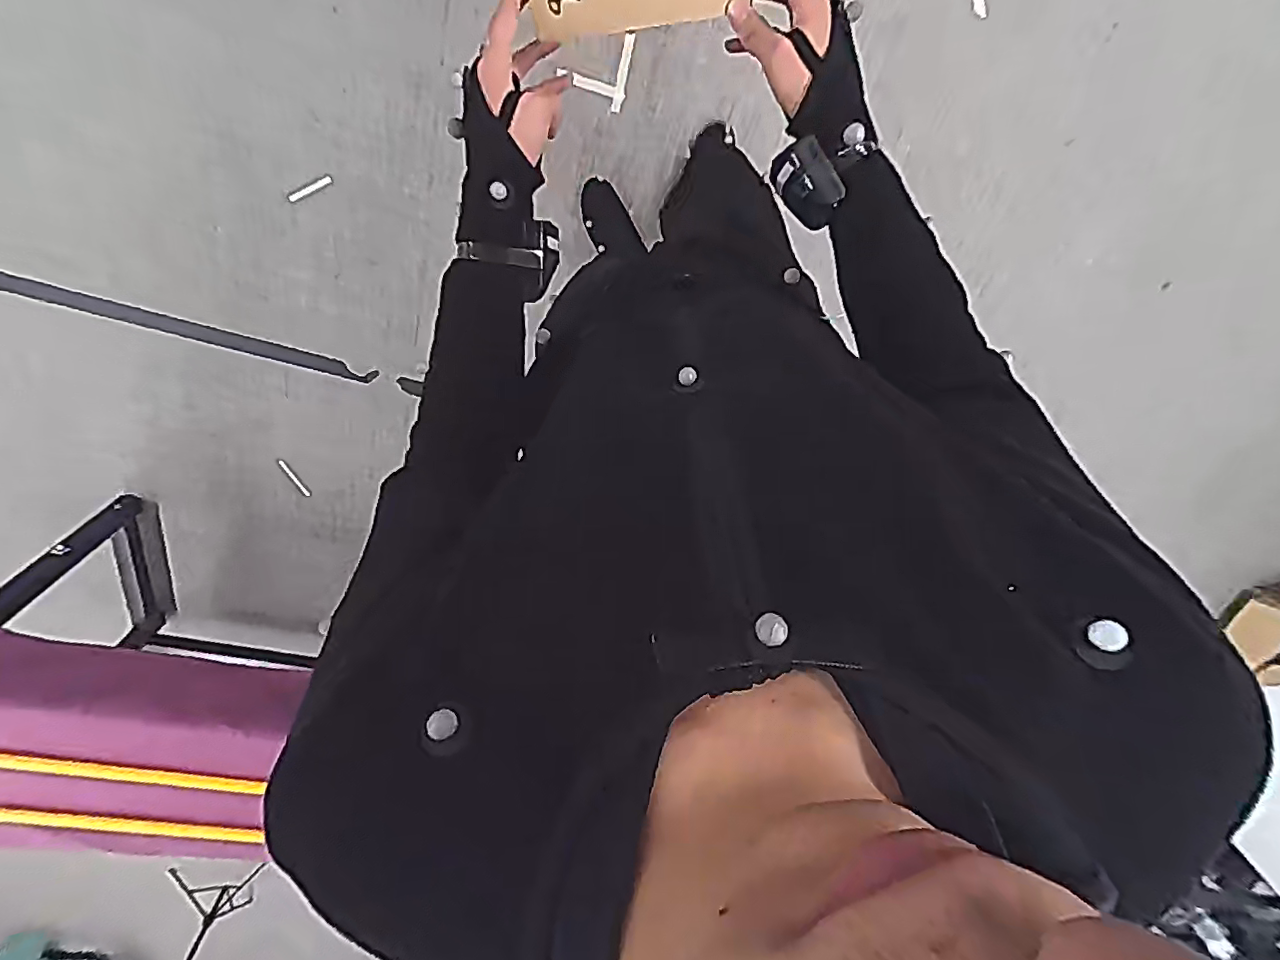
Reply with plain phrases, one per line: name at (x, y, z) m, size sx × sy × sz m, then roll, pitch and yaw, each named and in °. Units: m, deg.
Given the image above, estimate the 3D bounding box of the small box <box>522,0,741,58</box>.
small box at (-0.020, -0.472, 0.442) m, size 0.179 × 0.176 × 0.168 m, roll -9°, pitch 137°, yaw 0°
